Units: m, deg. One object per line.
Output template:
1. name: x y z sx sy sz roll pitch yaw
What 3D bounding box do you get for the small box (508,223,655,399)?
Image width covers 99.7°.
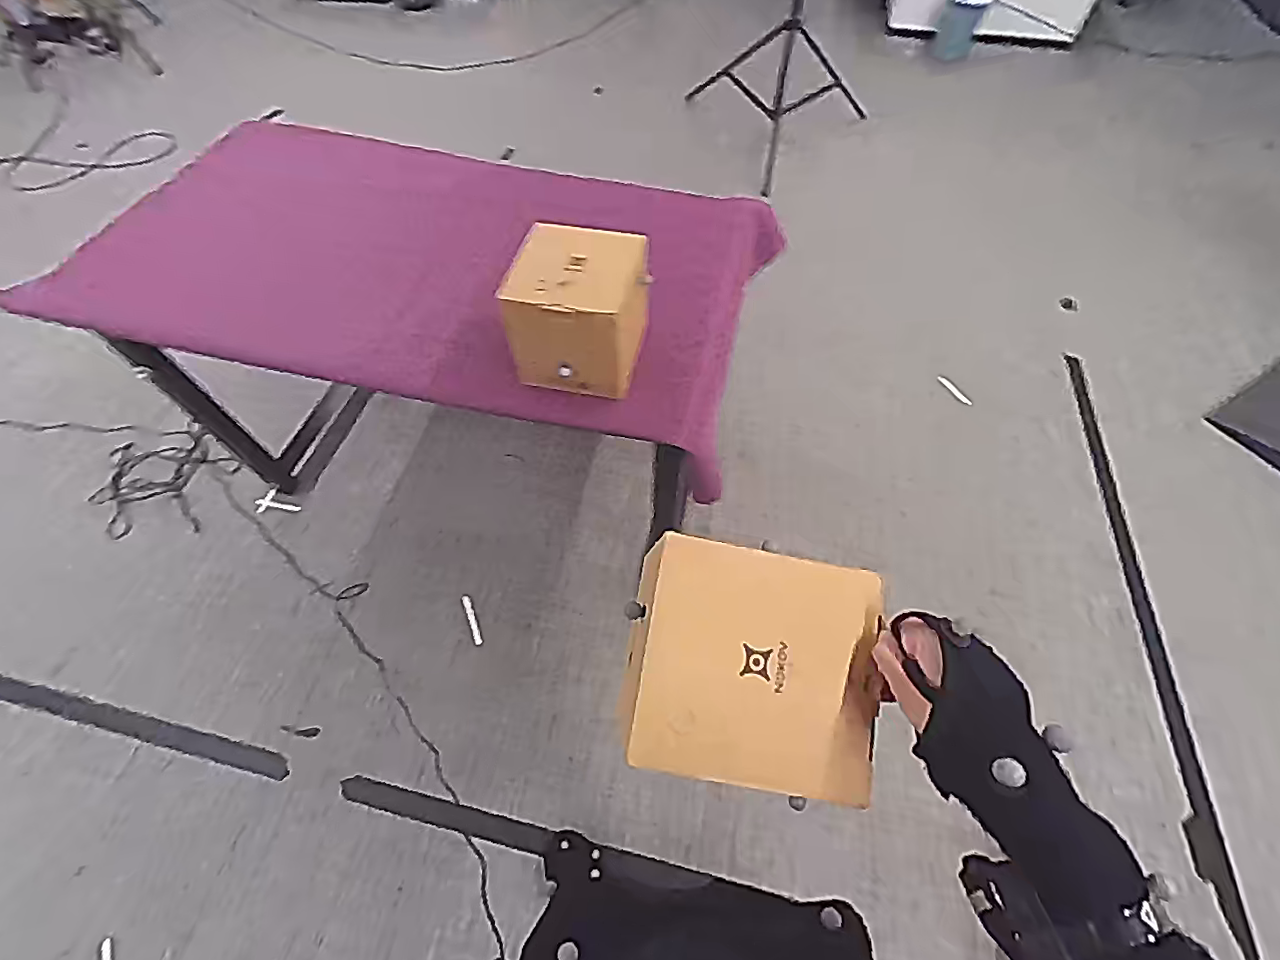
1. small box: -0.077 -0.250 0.811 0.168 0.176 0.179 10 59 8

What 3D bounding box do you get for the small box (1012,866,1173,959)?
1. small box: 0.829 0.841 1.007 0.179 0.176 0.168 10 61 5

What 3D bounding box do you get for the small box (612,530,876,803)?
1. small box: 0.075 0.151 0.466 0.179 0.176 0.168 11 74 -4
